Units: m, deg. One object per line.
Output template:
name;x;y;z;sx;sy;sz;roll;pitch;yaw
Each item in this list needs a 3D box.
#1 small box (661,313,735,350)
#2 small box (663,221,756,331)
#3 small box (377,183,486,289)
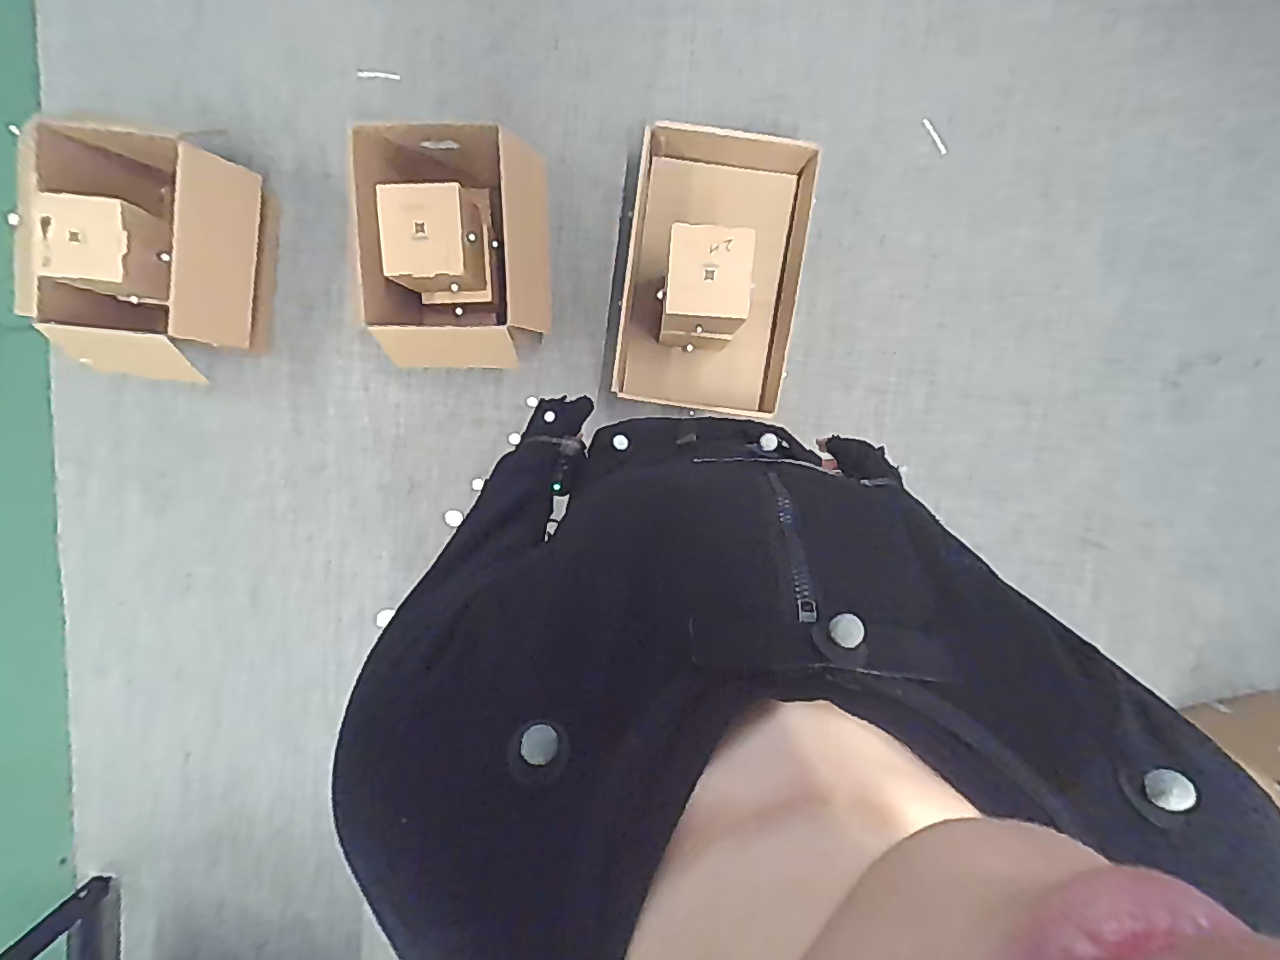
small box;0.141;-0.419;1.287;0.168;0.176;0.179;6;95;0
small box;0.136;-0.413;1.122;0.168;0.176;0.179;4;95;-1
small box;-0.434;-0.508;1.151;0.168;0.176;0.179;-1;98;0
